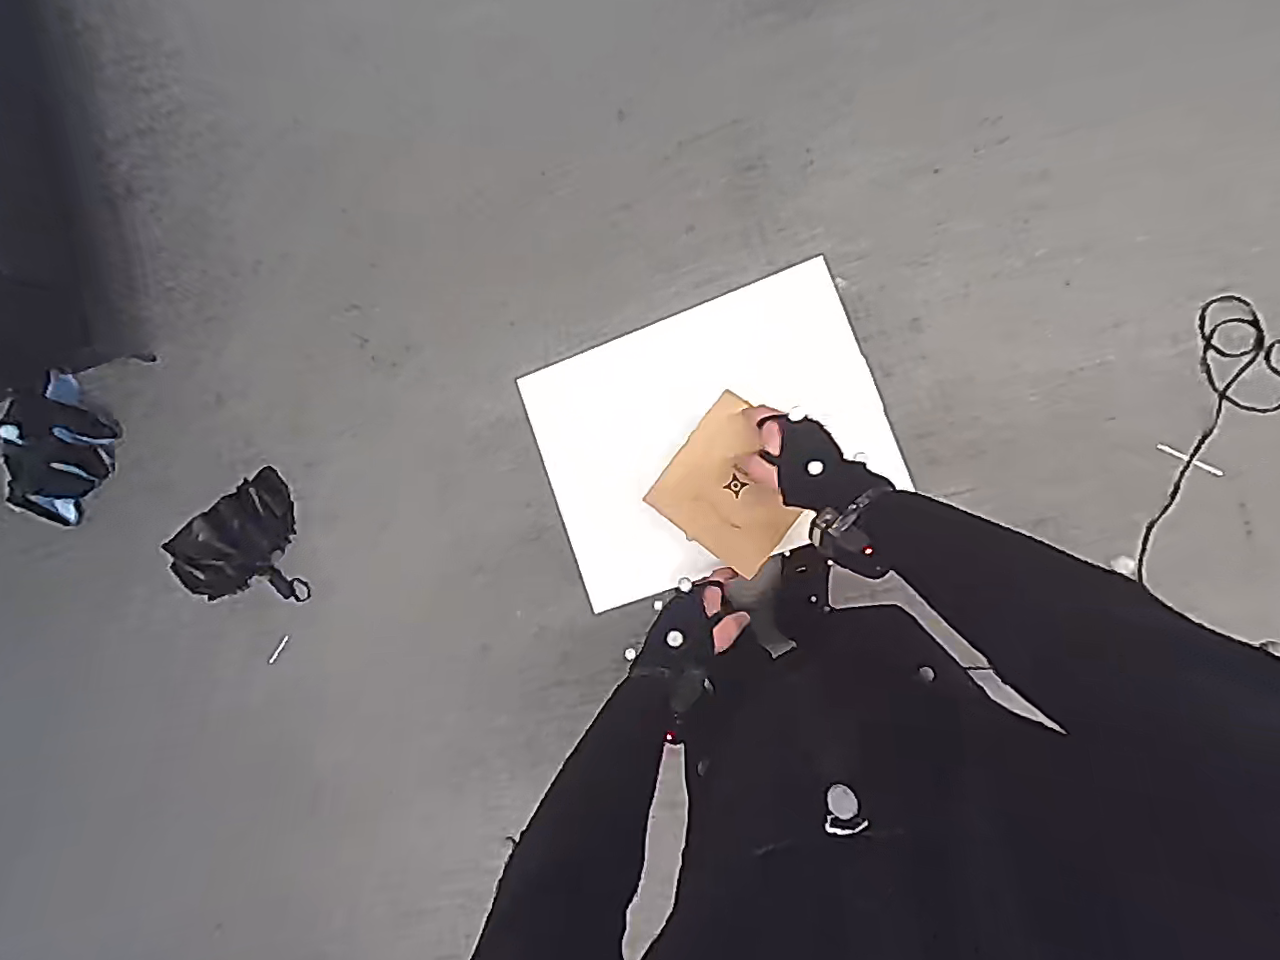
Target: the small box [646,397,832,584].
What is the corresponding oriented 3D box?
[{"bbox_3d":[0.132,0.015,0.737,0.168,0.176,0.179,33,94,12],"label":"small box"}]
